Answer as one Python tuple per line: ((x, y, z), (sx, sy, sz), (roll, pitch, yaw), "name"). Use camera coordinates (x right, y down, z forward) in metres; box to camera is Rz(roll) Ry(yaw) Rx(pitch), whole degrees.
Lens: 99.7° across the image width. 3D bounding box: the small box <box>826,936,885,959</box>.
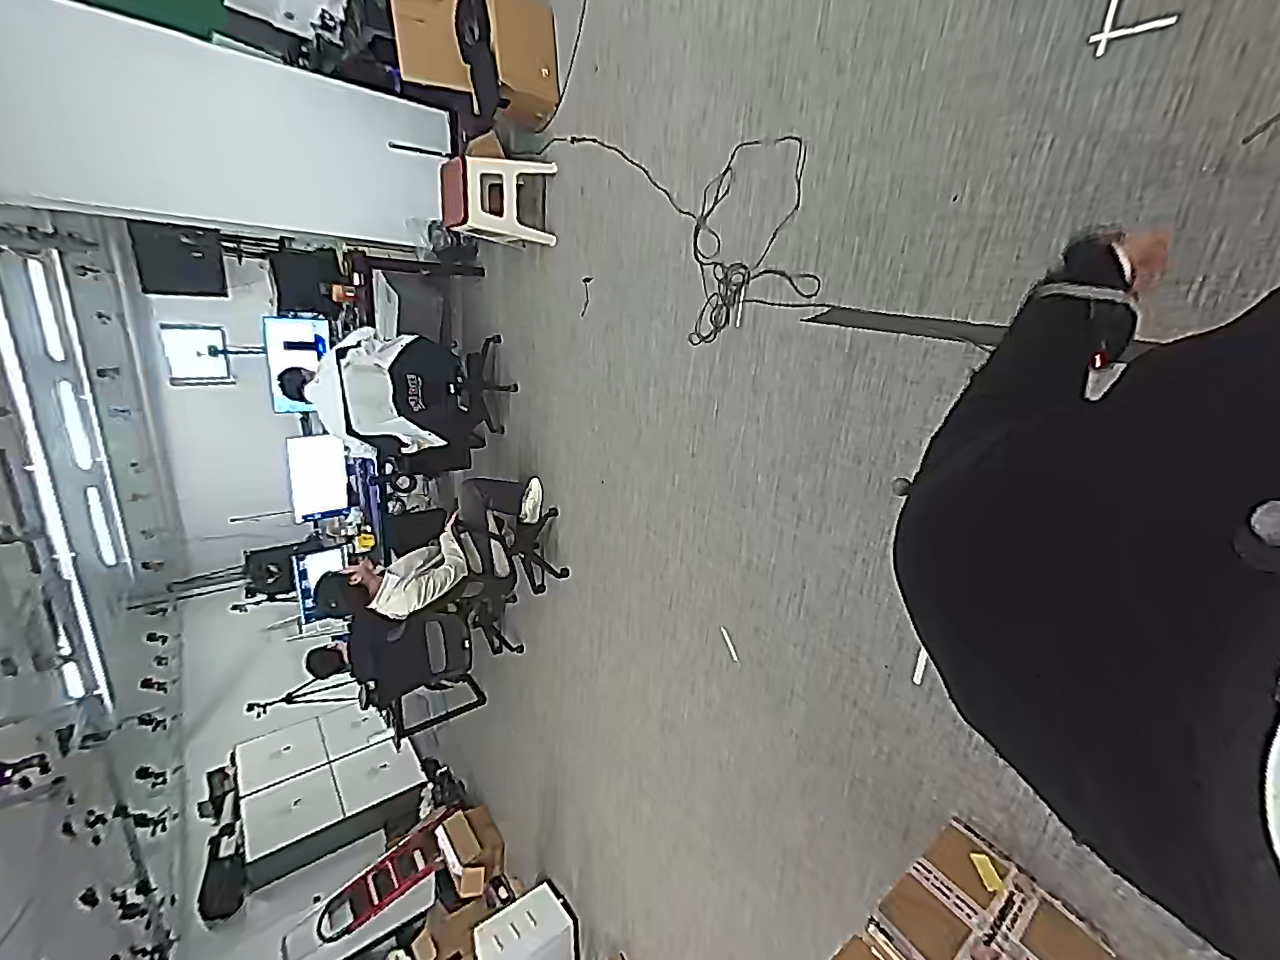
((0.512, 1.226, 1.264), (0.179, 0.176, 0.168), (31, 121, 45), "small box")
